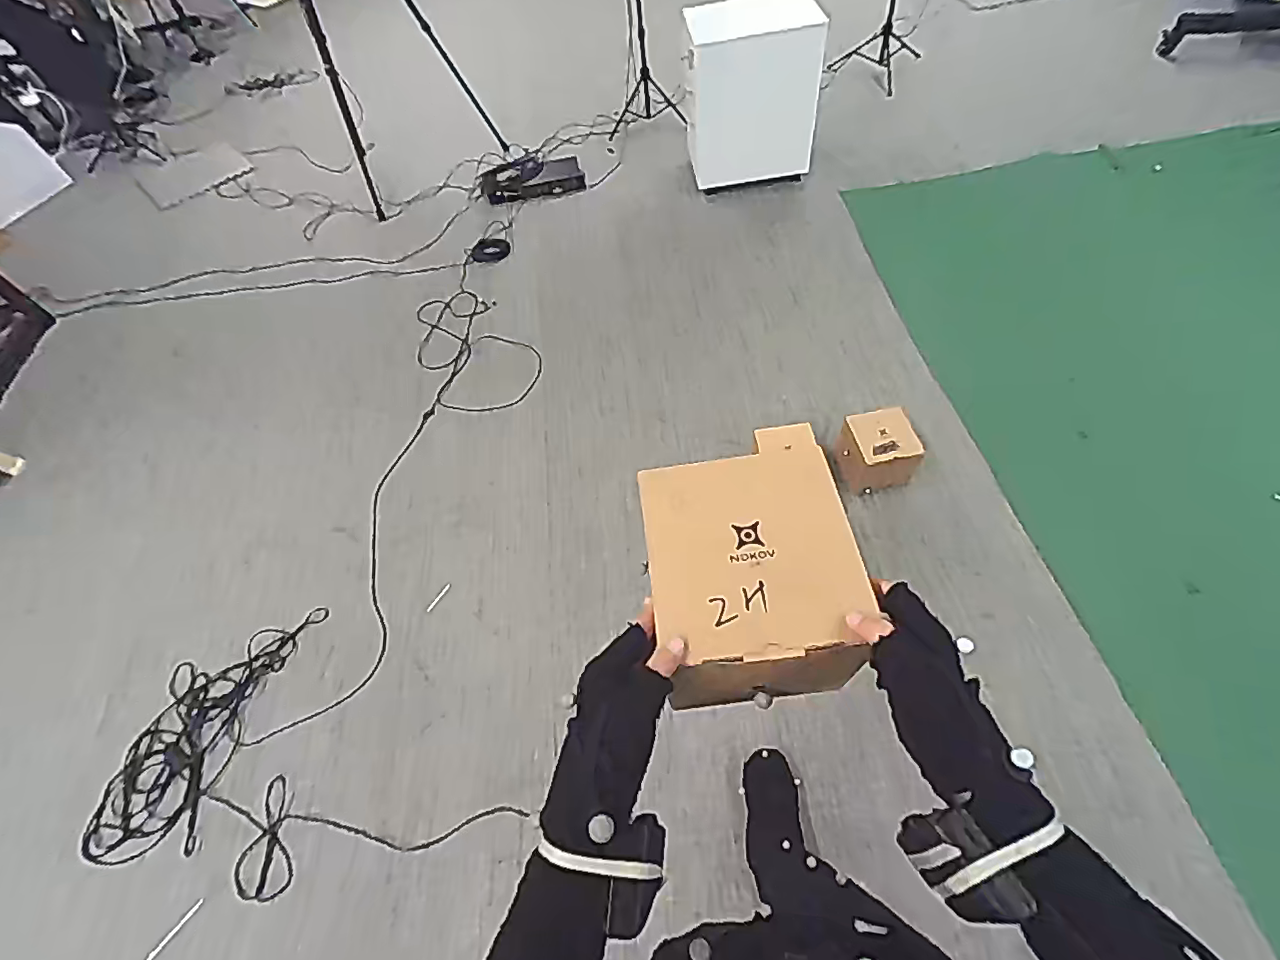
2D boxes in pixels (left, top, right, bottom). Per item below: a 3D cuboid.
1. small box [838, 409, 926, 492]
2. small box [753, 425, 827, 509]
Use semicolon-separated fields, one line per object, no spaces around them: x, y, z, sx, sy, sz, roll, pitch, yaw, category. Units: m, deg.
0.700;-0.078;1.585;0.168;0.176;0.179;-10;56;1;small box
0.434;-0.037;1.596;0.168;0.176;0.179;-7;57;3;small box
